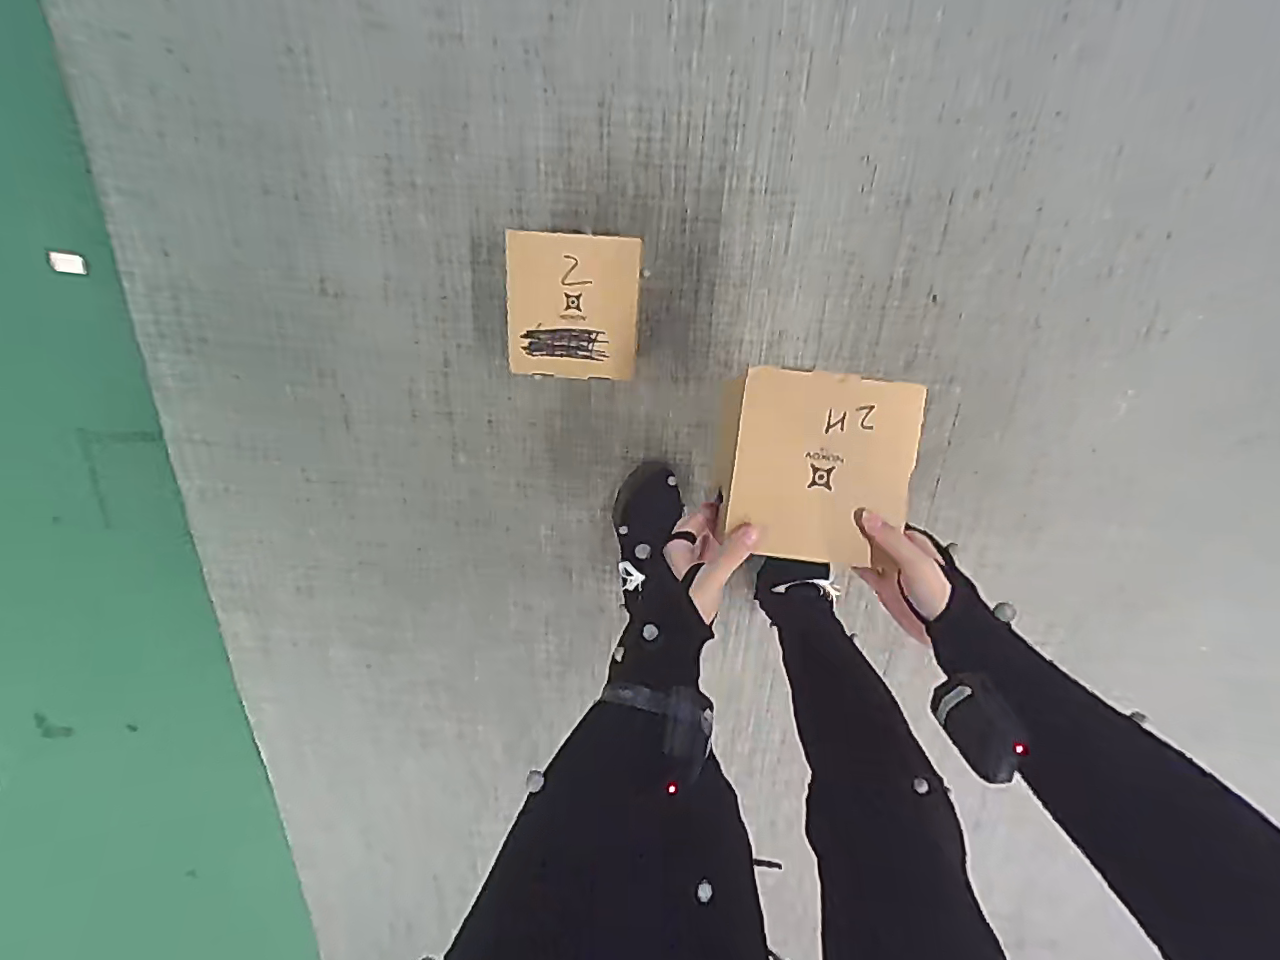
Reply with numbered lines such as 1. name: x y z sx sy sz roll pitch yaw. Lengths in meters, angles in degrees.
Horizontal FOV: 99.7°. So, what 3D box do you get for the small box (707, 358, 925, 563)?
1. small box: 0.169 -0.024 0.580 0.168 0.176 0.179 7 96 -1
